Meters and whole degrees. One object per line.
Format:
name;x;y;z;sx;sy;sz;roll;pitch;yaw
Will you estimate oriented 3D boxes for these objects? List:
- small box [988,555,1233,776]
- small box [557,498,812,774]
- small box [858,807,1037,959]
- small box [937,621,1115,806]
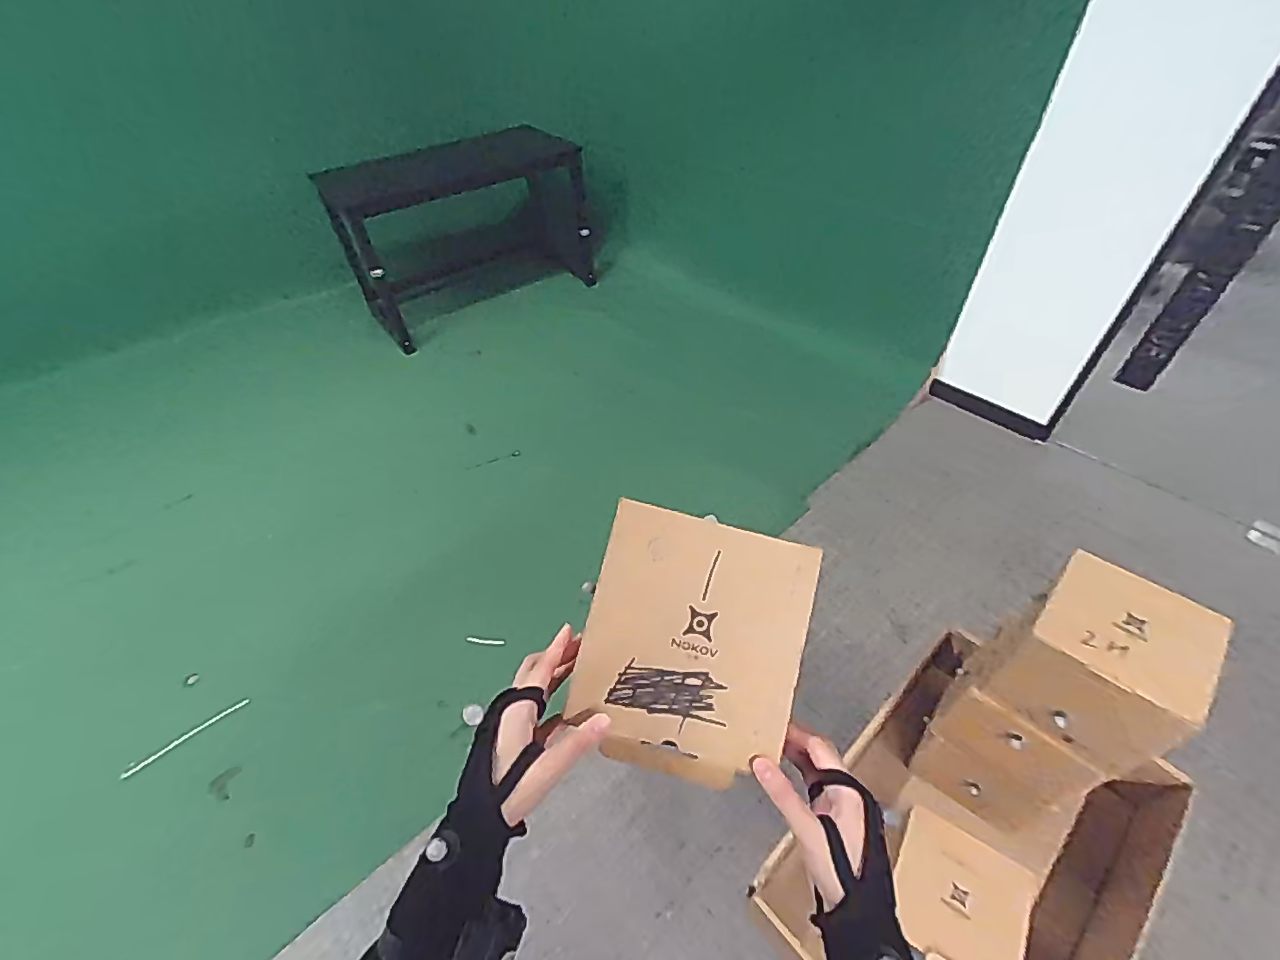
small box;0.592;0.238;0.701;0.179;0.176;0.168;-37;52;-27
small box;0.036;0.129;0.496;0.168;0.176;0.179;15;81;1
small box;0.437;0.631;0.790;0.168;0.176;0.179;25;52;25
small box;0.590;0.356;0.817;0.179;0.176;0.168;32;56;31
